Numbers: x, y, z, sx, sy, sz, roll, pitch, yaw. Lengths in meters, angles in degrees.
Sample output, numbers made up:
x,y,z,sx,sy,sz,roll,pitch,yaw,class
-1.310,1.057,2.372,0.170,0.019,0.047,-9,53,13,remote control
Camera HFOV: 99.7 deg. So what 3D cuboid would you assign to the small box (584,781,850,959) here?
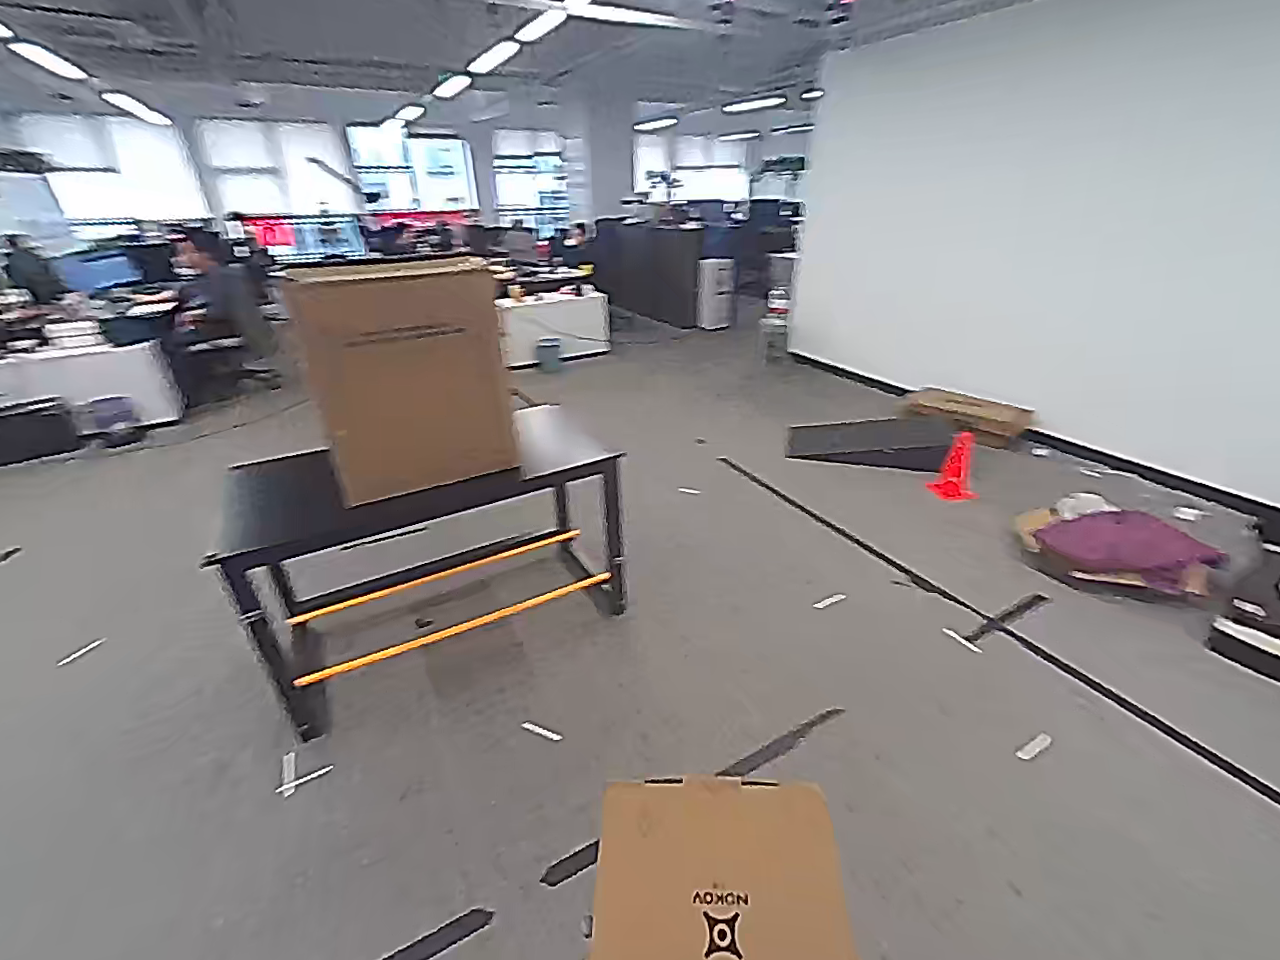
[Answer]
x,y,z,sx,sy,sz,roll,pitch,yaw,class
0.049,0.345,0.393,0.168,0.176,0.179,-2,40,2,small box
